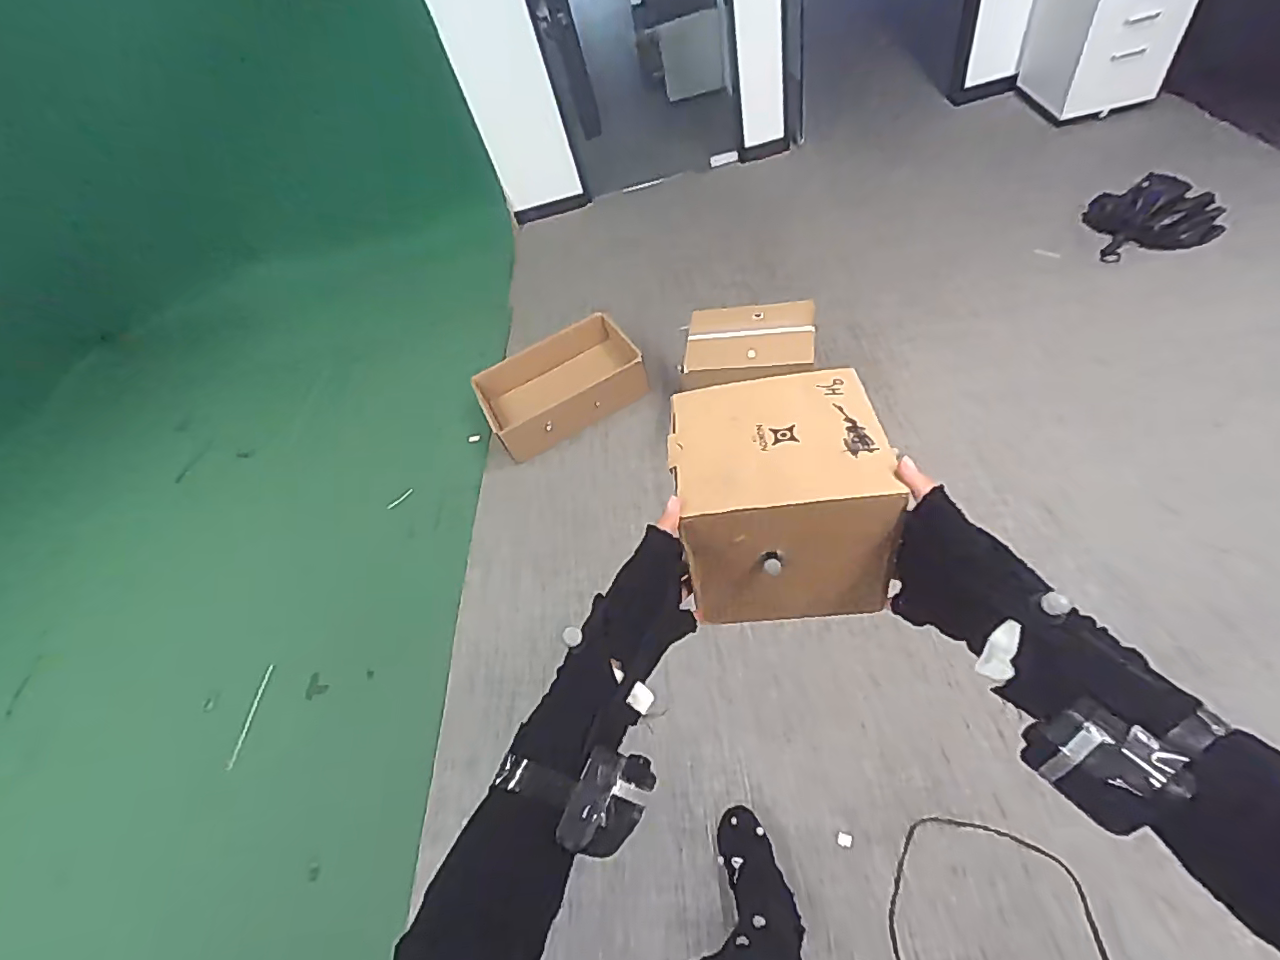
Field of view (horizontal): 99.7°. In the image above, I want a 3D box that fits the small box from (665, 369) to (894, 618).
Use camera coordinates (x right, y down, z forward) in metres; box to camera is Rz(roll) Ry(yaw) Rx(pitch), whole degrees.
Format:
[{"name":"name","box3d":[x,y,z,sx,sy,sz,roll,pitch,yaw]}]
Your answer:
[{"name":"small box","box3d":[0.126,0.020,0.526,0.179,0.176,0.168,-8,45,9]}]
